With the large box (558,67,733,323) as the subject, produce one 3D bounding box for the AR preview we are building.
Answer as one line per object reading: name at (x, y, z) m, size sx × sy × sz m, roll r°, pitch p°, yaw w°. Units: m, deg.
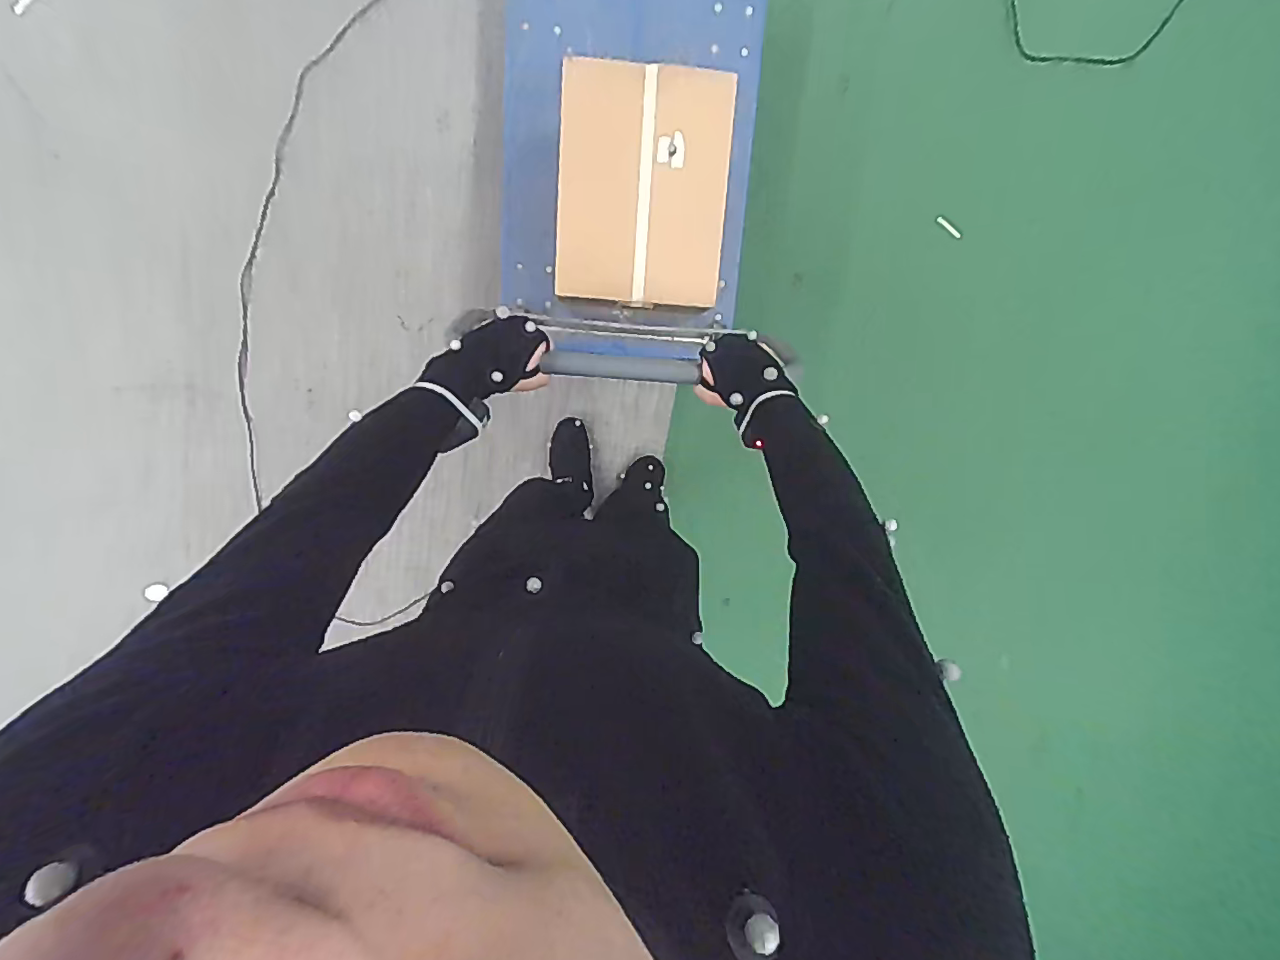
large box at (-0.001, -0.558, 1.147) m, size 0.320 × 0.320 × 0.408 m, roll 3°, pitch 101°, yaw -5°
